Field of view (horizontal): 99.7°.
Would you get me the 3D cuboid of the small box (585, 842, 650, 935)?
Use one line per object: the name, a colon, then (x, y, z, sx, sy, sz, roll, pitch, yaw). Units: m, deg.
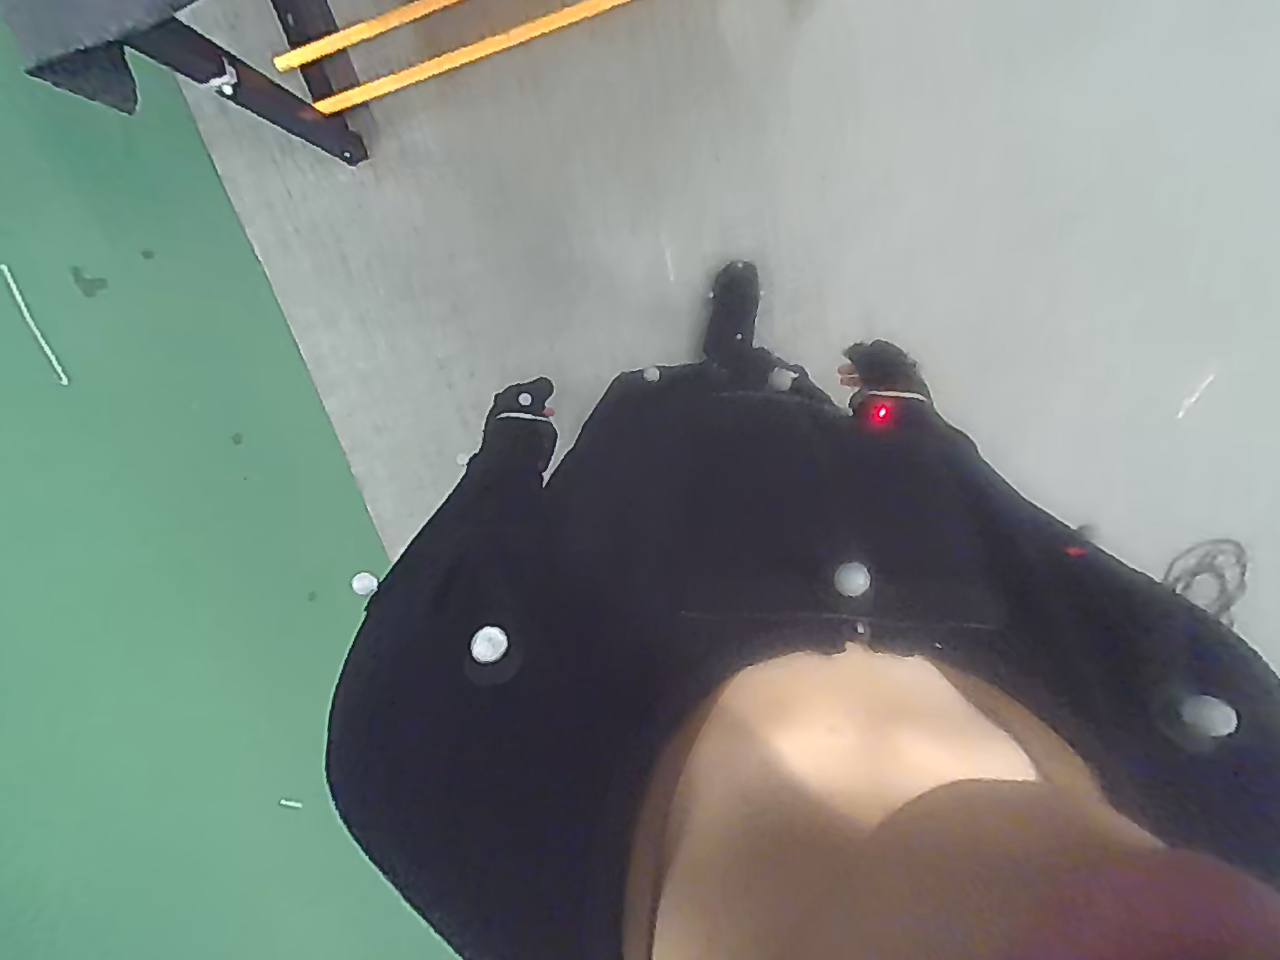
small box: (-0.067, 1.307, 1.744, 0.168, 0.176, 0.179, -14, 104, 7)
